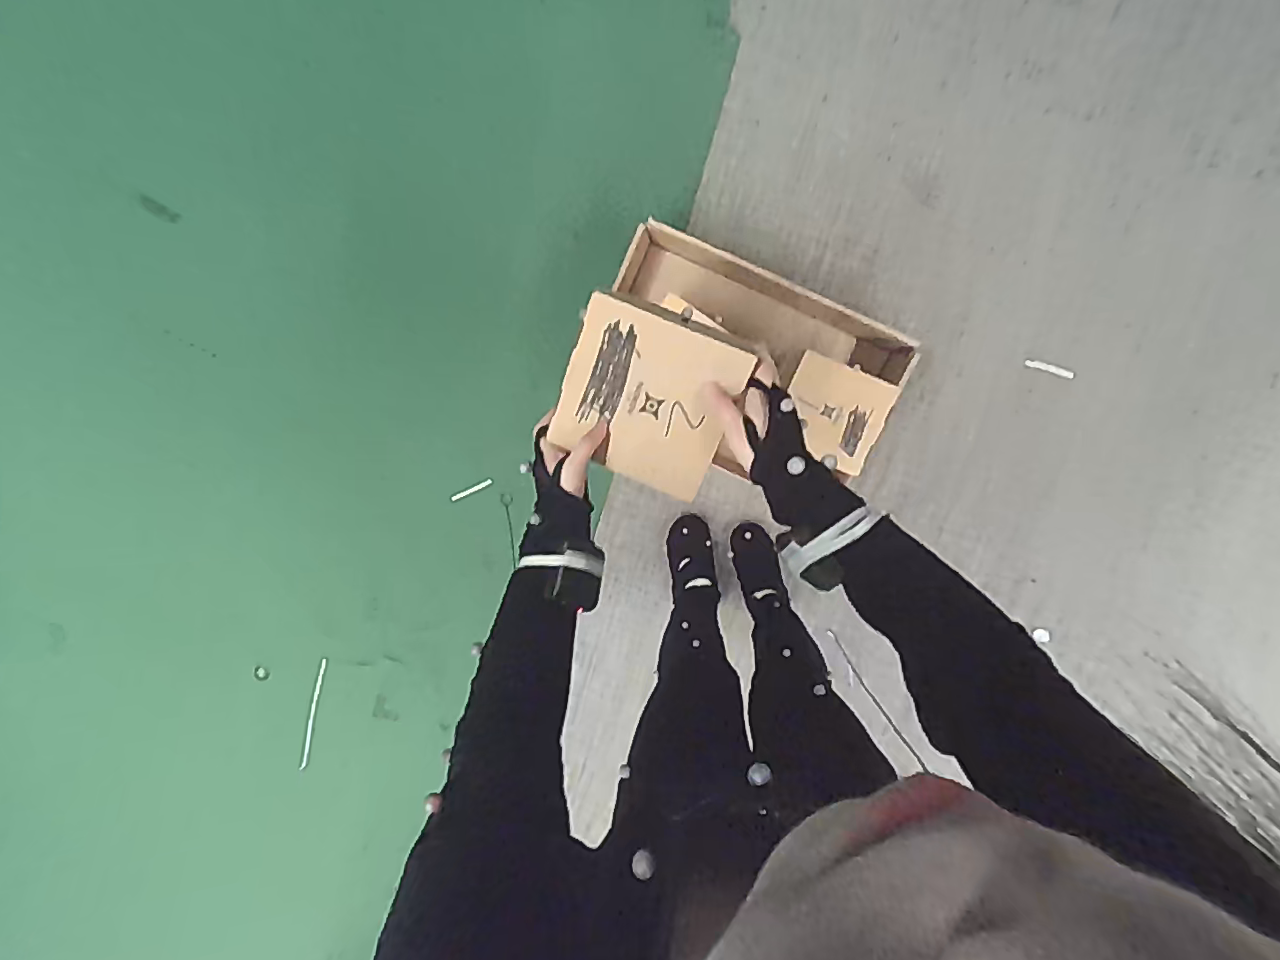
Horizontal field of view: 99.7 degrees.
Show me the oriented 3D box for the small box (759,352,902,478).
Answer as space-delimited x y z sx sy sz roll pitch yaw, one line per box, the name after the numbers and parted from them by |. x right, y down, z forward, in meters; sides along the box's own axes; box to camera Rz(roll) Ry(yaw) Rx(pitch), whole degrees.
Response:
0.336 -0.124 0.993 0.179 0.176 0.168 24 102 3 | small box

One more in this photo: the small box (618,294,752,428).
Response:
0.082 -0.216 1.007 0.179 0.176 0.168 34 101 -3 | small box
